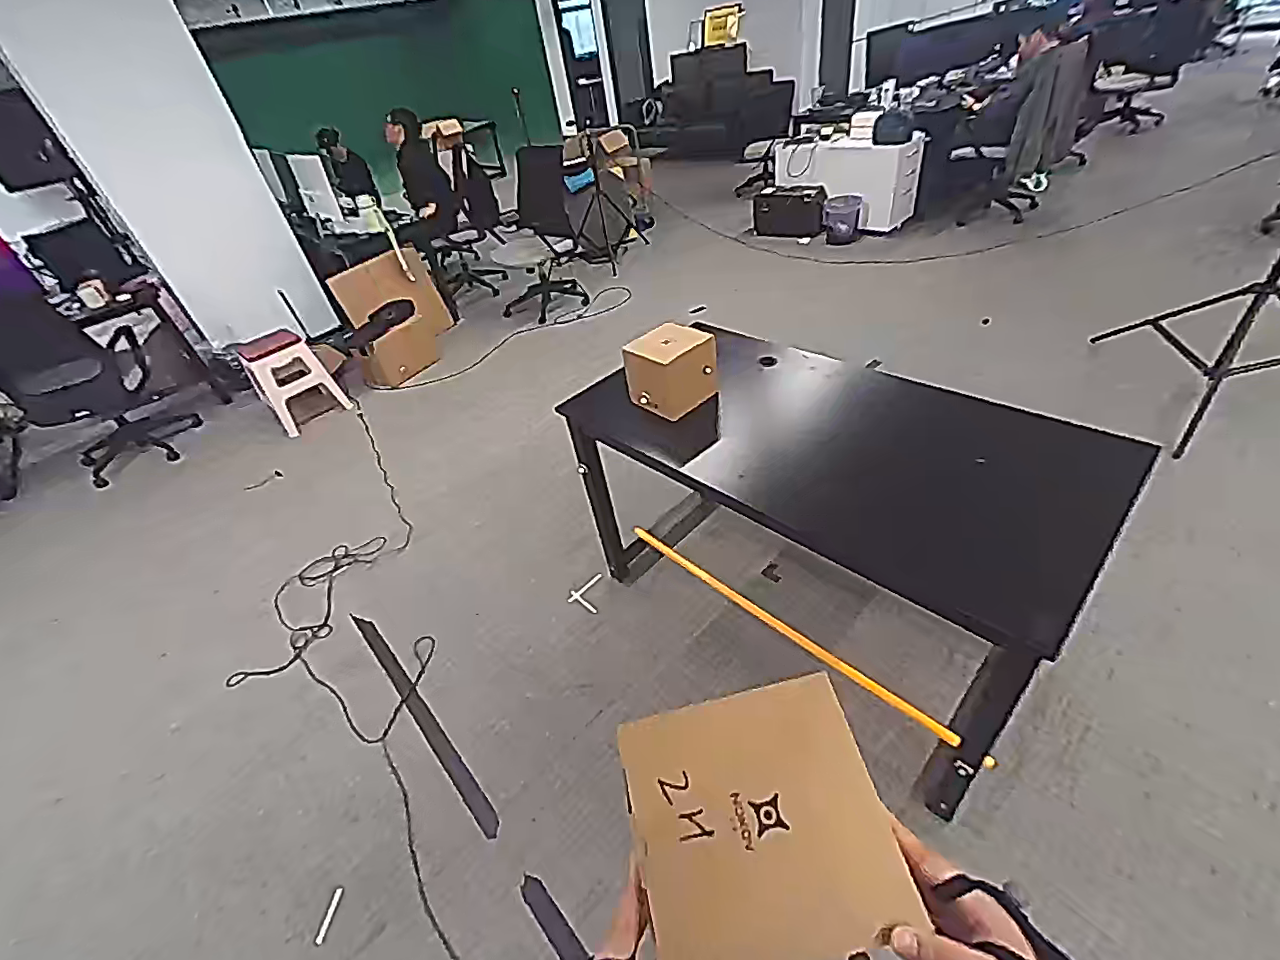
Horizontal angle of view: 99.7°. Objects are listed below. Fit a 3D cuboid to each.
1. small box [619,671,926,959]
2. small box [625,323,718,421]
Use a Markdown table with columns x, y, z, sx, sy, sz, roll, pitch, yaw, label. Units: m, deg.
| x | y | z | sx | sy | sz | roll | pitch | yaw | label |
| --- | --- | --- | --- | --- | --- | --- | --- | --- | --- |
| 0.090 | 0.280 | 0.447 | 0.179 | 0.176 | 0.168 | -14 | 53 | -2 | small box |
| 0.087 | -0.281 | 1.402 | 0.179 | 0.176 | 0.168 | -37 | 45 | -26 | small box |
